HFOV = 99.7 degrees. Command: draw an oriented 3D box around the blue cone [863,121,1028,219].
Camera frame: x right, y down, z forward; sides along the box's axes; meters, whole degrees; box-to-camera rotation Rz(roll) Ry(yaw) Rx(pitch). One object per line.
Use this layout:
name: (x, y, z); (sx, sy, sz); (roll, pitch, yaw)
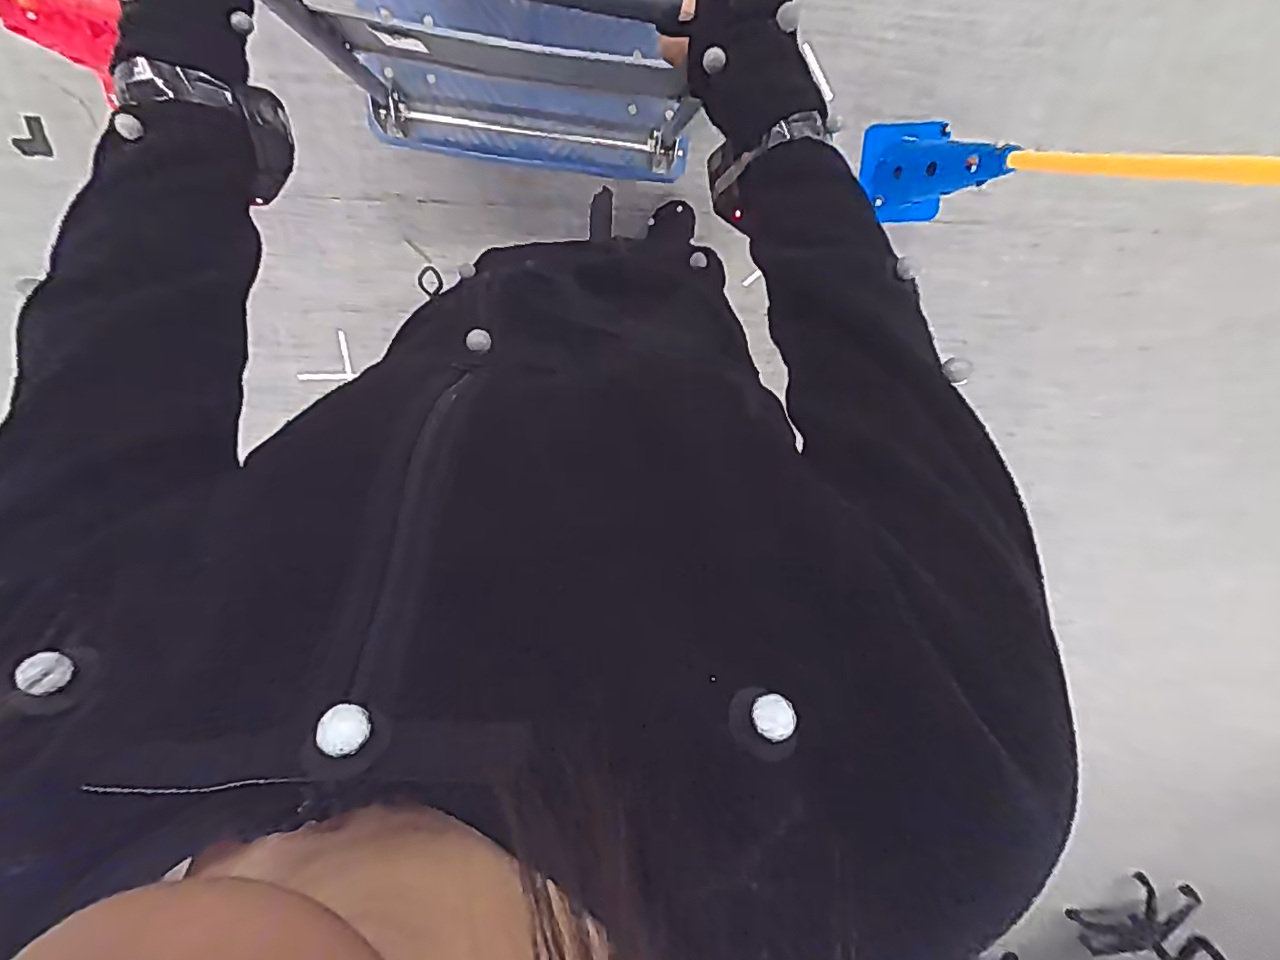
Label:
blue cone: (0.621, -0.634, 1.083); (0.193, 0.380, 0.192); (-4, 115, -4)
